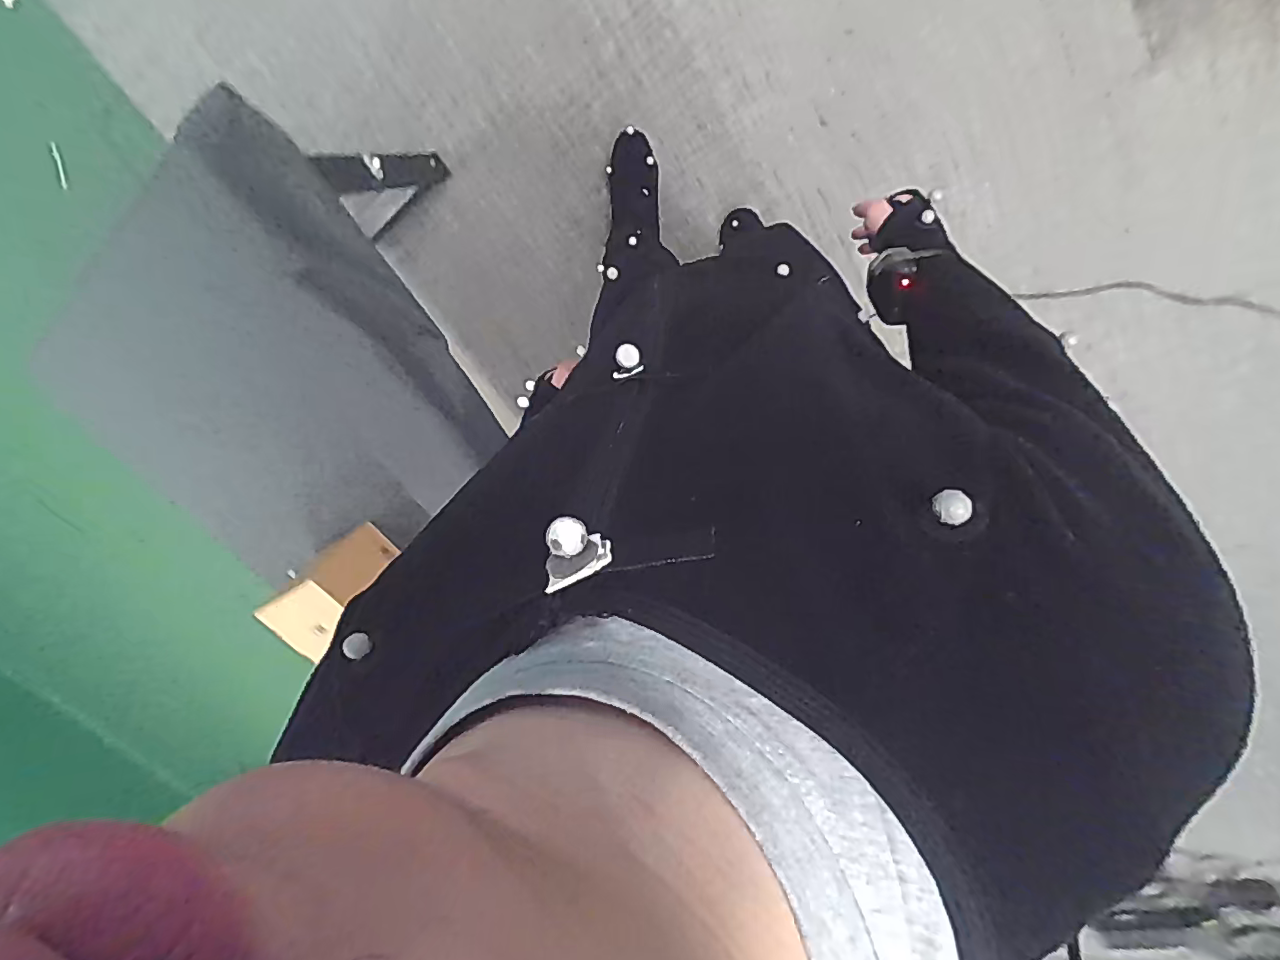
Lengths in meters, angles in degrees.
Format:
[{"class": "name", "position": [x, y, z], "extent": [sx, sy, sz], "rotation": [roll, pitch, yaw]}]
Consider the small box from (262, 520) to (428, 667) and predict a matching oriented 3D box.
[{"class": "small box", "position": [-0.530, 0.206, 0.996], "extent": [0.179, 0.176, 0.168], "rotation": [-29, 114, 23]}]

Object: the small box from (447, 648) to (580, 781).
[{"class": "small box", "position": [-0.249, 0.479, 1.110], "extent": [0.179, 0.176, 0.168], "rotation": [-28, 113, 25]}]
